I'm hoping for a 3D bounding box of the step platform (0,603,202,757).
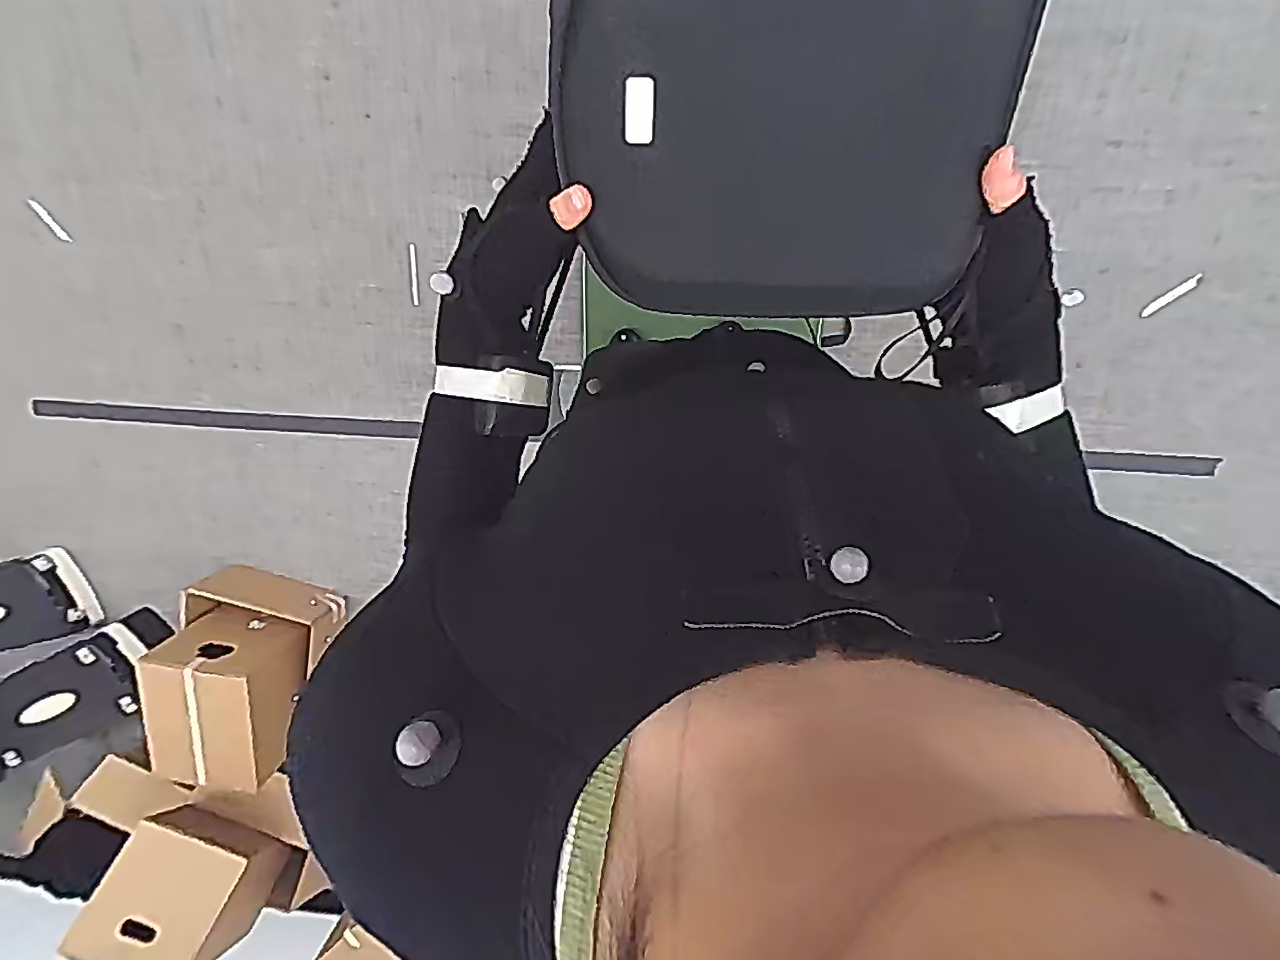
[{"bbox_3d":[-1.866,0.676,1.819,0.684,0.204,0.286,-25,104,11],"label":"step platform"}]
